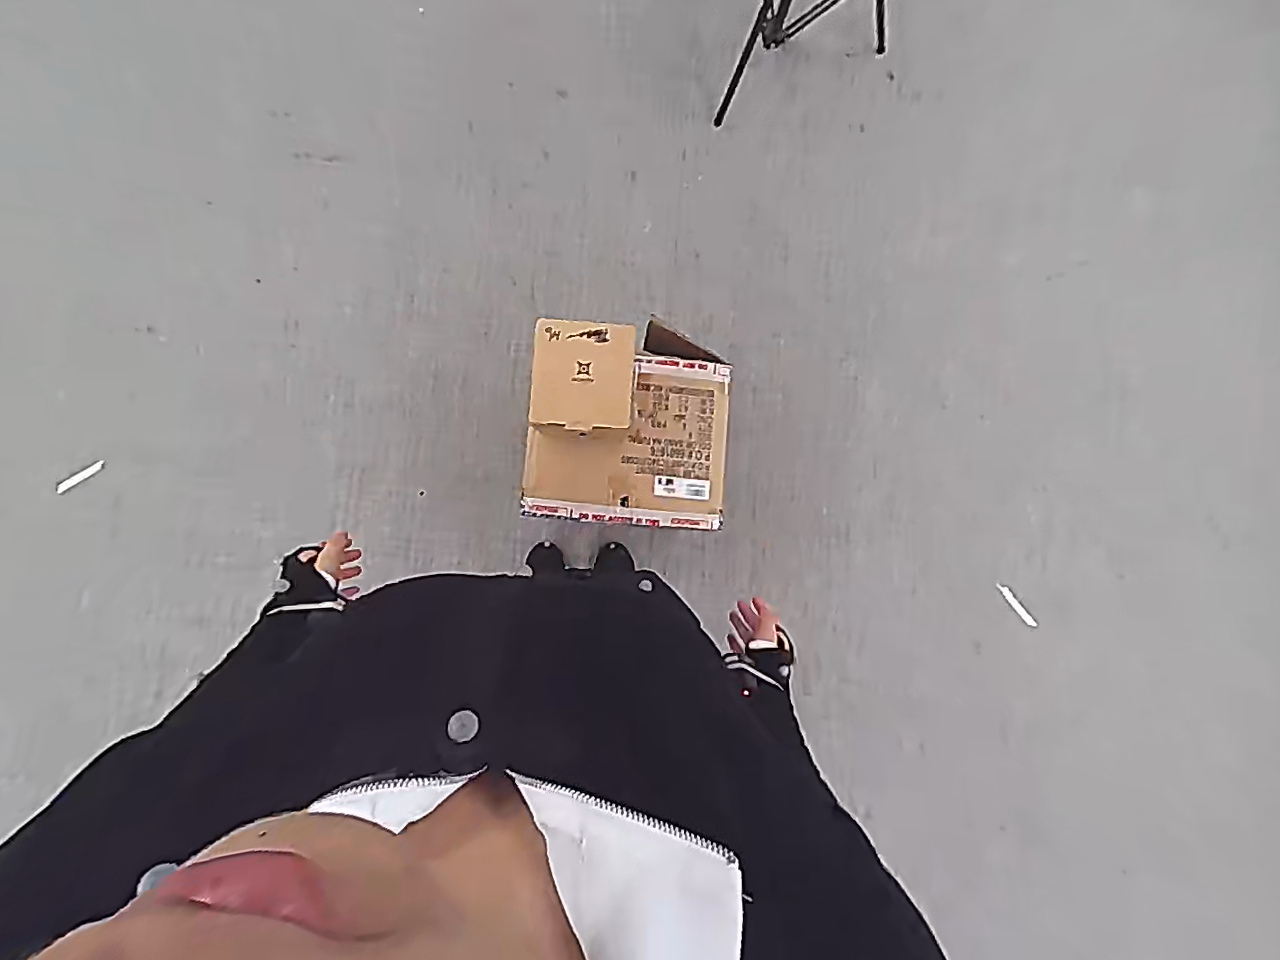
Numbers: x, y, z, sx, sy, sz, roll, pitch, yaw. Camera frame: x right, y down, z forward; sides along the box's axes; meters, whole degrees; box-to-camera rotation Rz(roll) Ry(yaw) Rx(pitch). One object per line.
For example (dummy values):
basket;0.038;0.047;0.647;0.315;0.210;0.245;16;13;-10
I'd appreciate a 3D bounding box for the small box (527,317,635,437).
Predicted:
small box;-0.098;-0.172;0.959;0.168;0.176;0.179;4;89;-2
